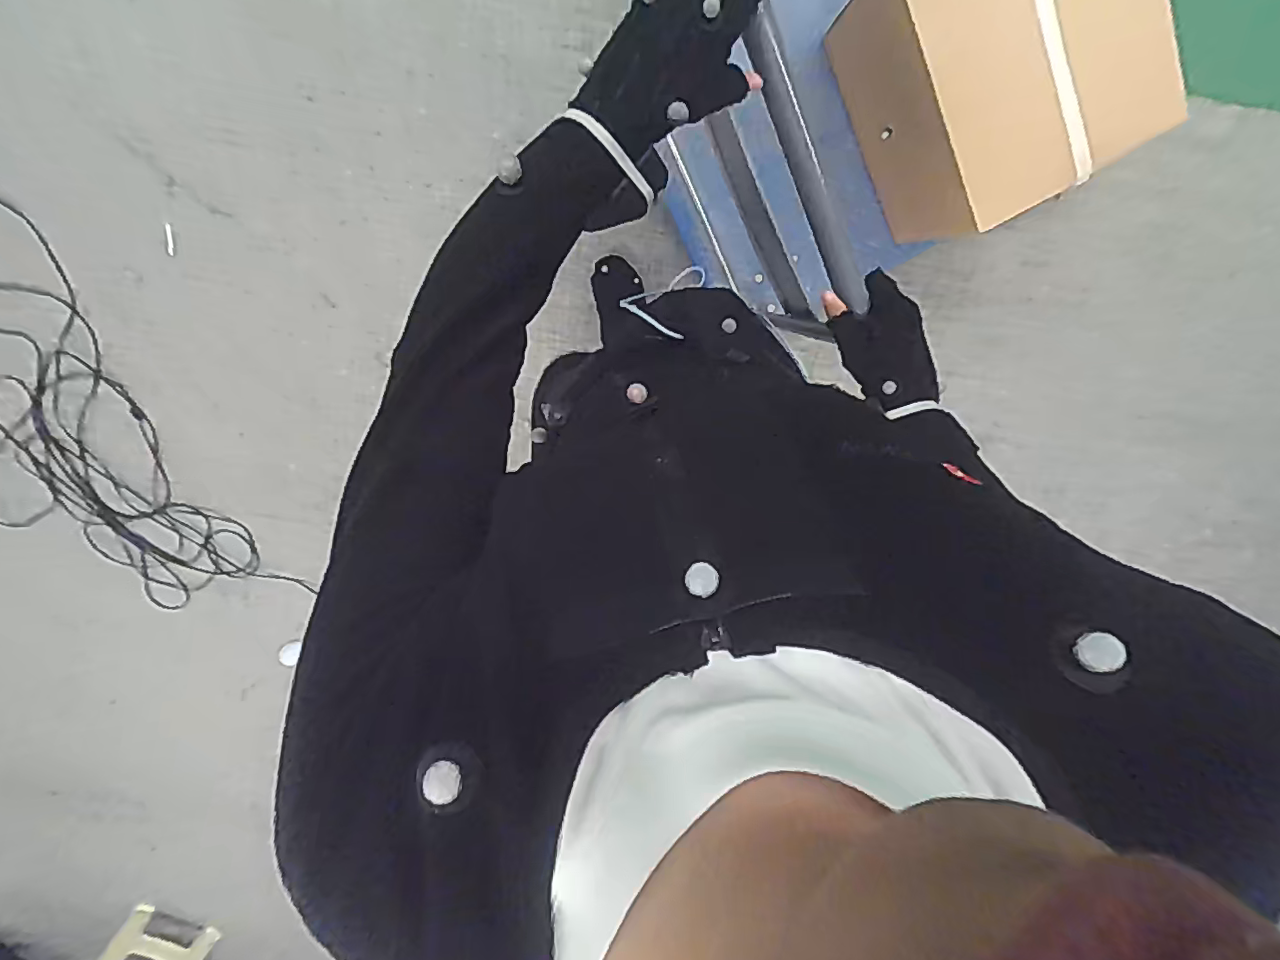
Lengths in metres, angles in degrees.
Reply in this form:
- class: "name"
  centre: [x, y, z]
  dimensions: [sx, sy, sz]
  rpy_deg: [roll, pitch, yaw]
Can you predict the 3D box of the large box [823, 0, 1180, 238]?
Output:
- class: "large box"
  centre: [0.564, -0.678, 0.902]
  dimensions: [0.320, 0.320, 0.408]
  rpy_deg: [-28, 107, 11]
